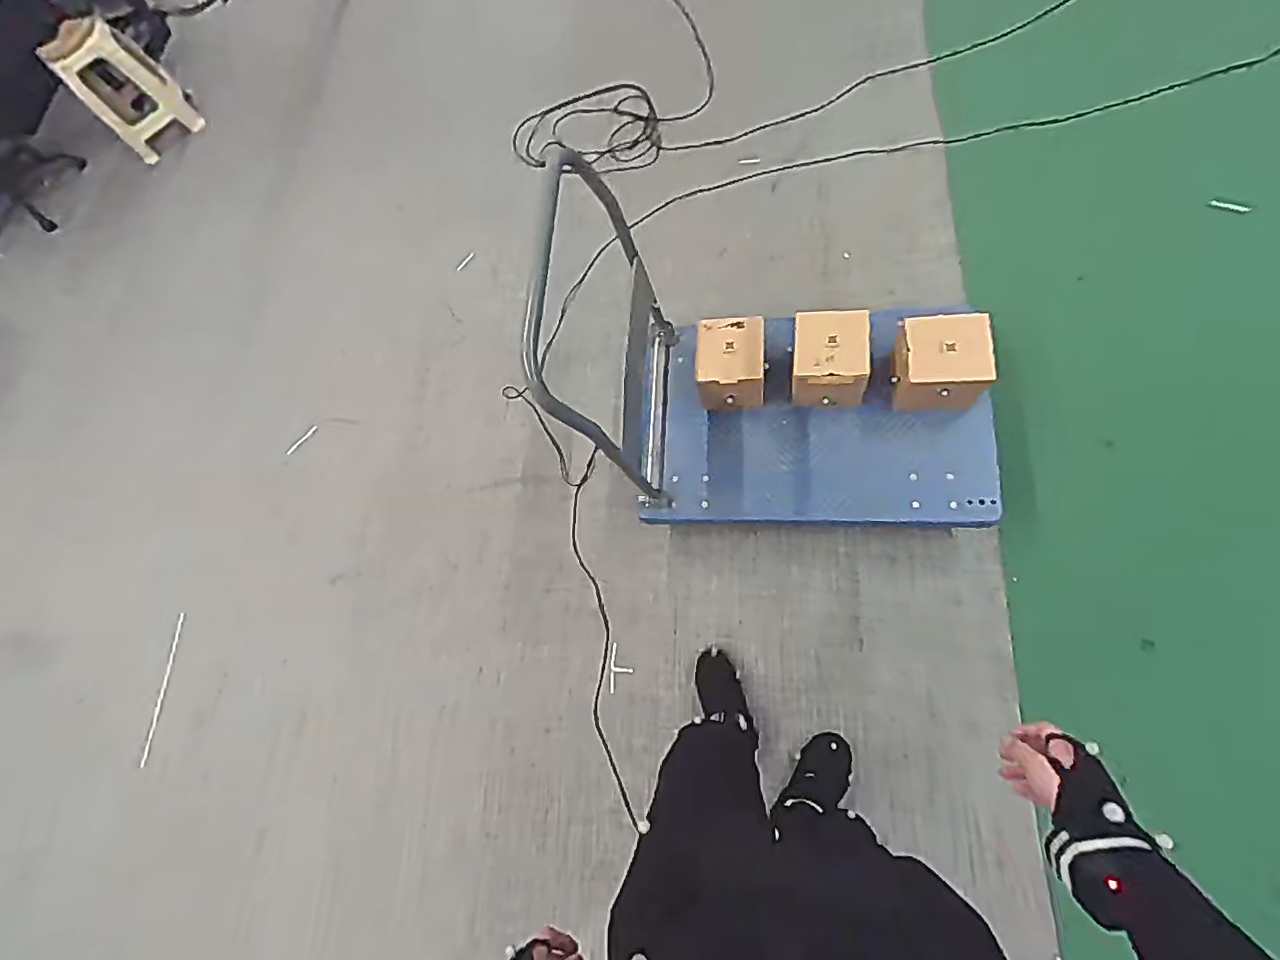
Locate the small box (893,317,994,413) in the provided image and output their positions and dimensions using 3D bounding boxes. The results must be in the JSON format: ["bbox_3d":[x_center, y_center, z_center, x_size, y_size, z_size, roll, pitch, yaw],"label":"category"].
[{"bbox_3d":[0.704,-0.263,1.276,0.179,0.176,0.168,1,74,14],"label":"small box"}]

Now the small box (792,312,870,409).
[{"bbox_3d":[0.468,-0.293,1.339,0.168,0.176,0.179,3,74,14],"label":"small box"}]

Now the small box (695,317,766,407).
[{"bbox_3d":[0.238,-0.296,1.393,0.168,0.176,0.179,2,74,13],"label":"small box"}]
